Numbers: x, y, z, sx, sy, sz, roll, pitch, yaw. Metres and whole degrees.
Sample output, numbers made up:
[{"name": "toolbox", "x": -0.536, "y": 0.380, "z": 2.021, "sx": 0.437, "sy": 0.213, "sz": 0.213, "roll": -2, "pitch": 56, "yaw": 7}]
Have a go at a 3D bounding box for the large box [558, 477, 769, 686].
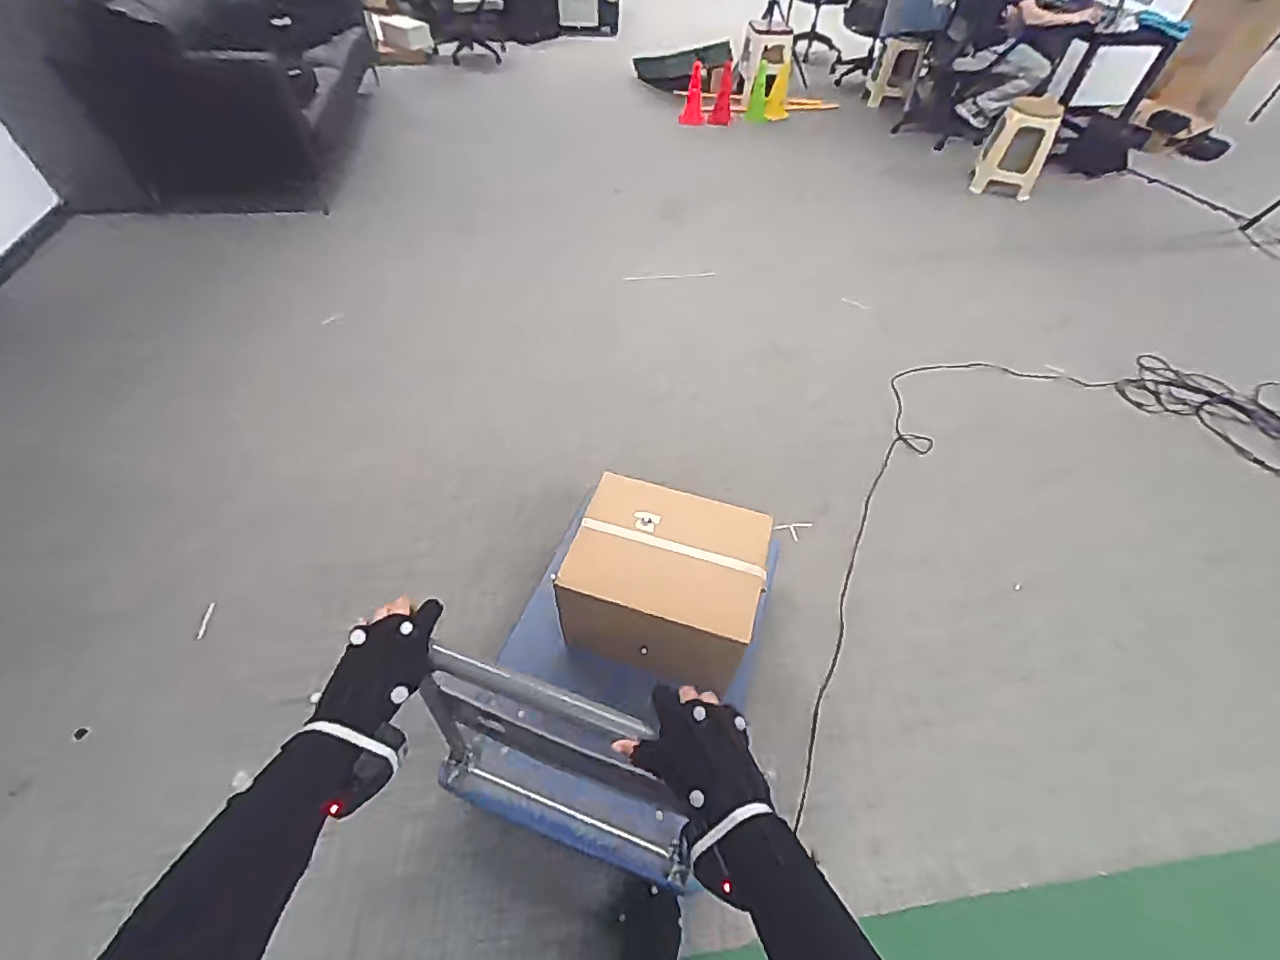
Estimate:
[{"name": "large box", "x": 0.062, "y": 0.241, "z": 1.271, "sx": 0.408, "sy": 0.320, "sz": 0.320, "roll": 13, "pitch": 51, "yaw": 9}]
